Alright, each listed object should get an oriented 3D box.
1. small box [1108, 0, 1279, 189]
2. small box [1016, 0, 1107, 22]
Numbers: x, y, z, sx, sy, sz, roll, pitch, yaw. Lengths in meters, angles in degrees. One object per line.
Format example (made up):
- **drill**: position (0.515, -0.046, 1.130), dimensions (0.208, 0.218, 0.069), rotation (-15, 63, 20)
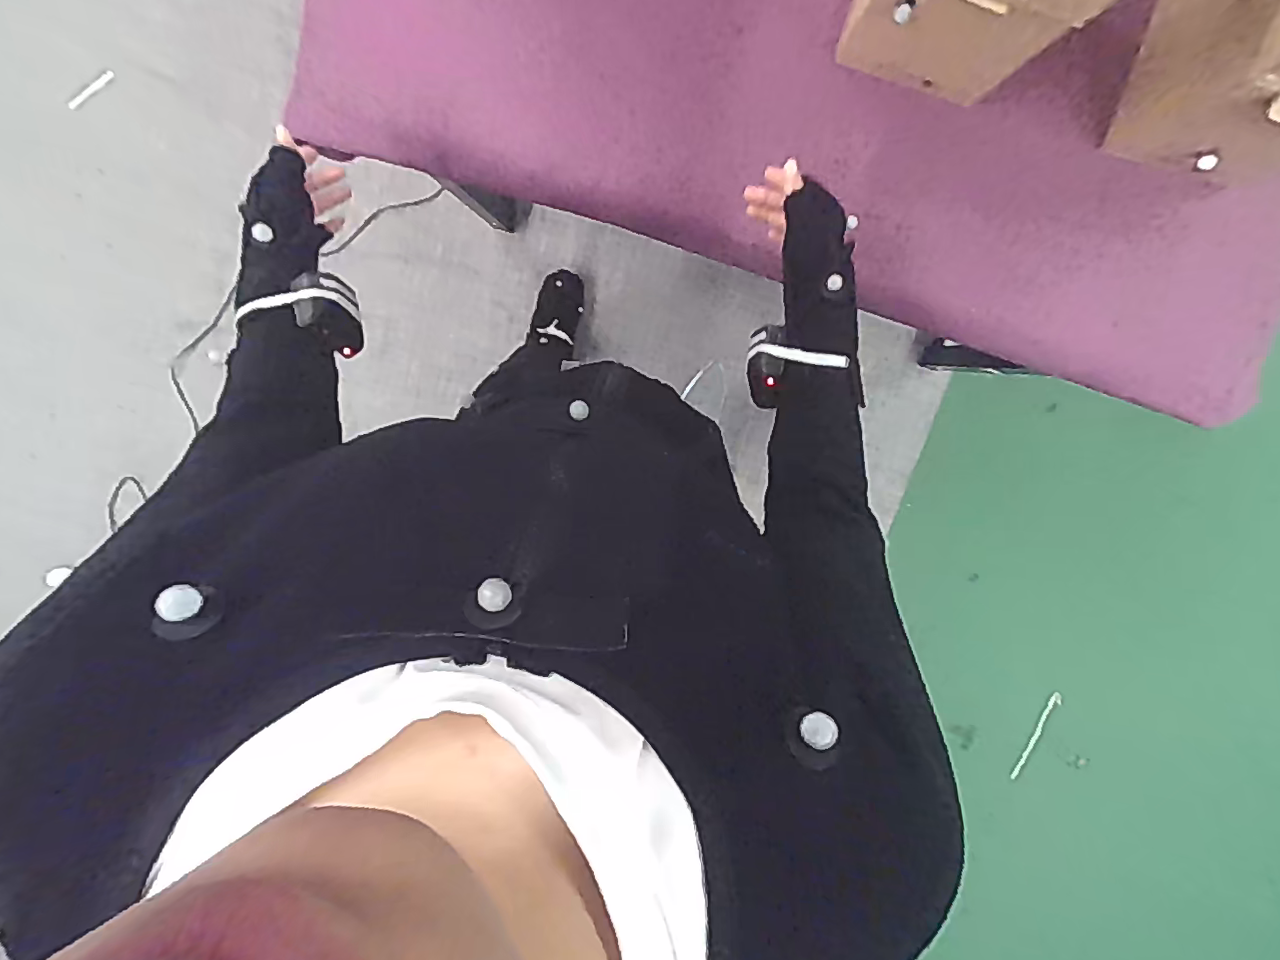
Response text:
- **small box**: position (0.633, -0.424, 0.539), dimensions (0.168, 0.176, 0.179), rotation (14, 103, -2)
- **small box**: position (0.322, -0.468, 0.361), dimensions (0.168, 0.176, 0.179), rotation (16, 101, -4)
